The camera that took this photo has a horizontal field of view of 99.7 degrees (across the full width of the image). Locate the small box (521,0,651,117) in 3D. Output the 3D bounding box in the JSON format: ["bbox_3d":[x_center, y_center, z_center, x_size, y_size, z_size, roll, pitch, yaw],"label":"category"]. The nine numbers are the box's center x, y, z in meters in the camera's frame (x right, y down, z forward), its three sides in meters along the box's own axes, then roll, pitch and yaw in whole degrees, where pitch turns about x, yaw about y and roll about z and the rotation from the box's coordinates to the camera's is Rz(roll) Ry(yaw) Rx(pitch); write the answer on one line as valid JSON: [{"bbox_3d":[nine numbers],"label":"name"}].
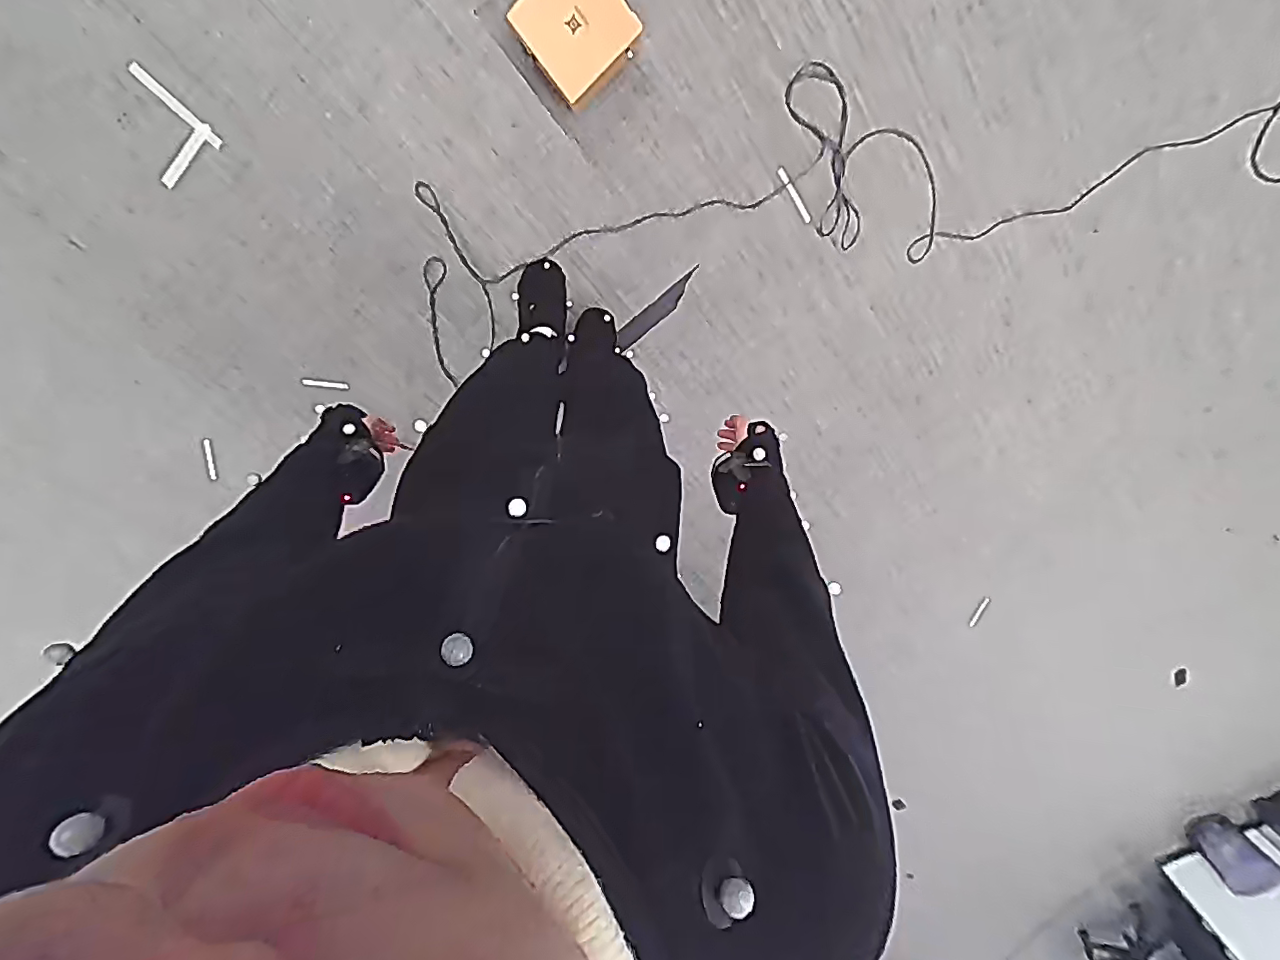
[{"bbox_3d":[-0.095,-0.812,0.957,0.179,0.176,0.168,44,88,-6],"label":"small box"}]
